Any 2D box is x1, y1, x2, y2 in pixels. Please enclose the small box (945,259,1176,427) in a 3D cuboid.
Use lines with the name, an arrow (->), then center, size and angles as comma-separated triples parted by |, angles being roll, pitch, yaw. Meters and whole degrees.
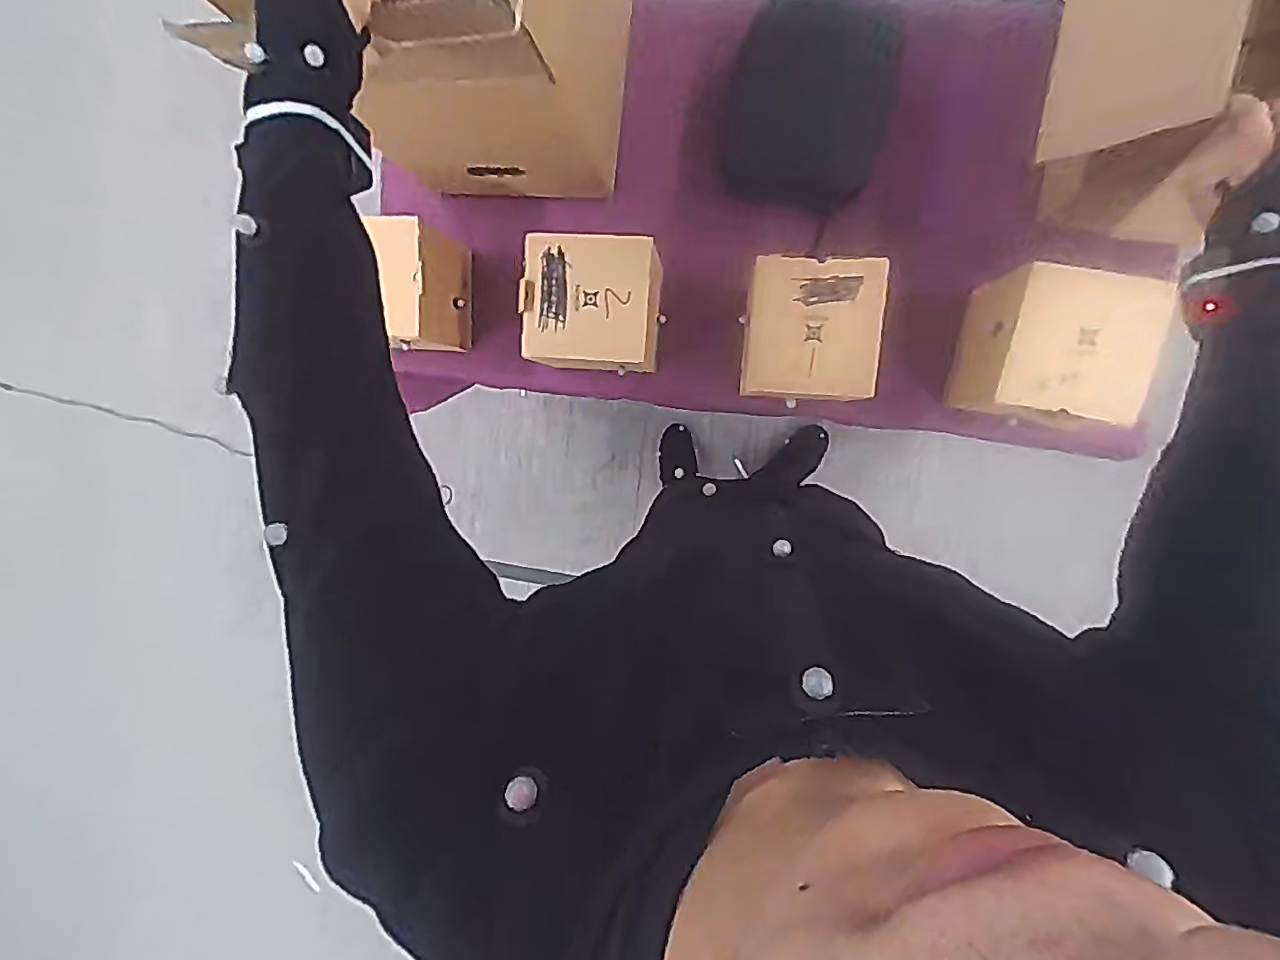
small box -> 0.546, -0.174, 0.733 | 0.168, 0.176, 0.179 | 13, 98, 7

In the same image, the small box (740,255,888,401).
small box -> 0.235, -0.207, 0.773 | 0.168, 0.176, 0.179 | 5, 99, 8

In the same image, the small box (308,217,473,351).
small box -> -0.382, -0.297, 0.846 | 0.179, 0.176, 0.168 | 3, 97, 6
